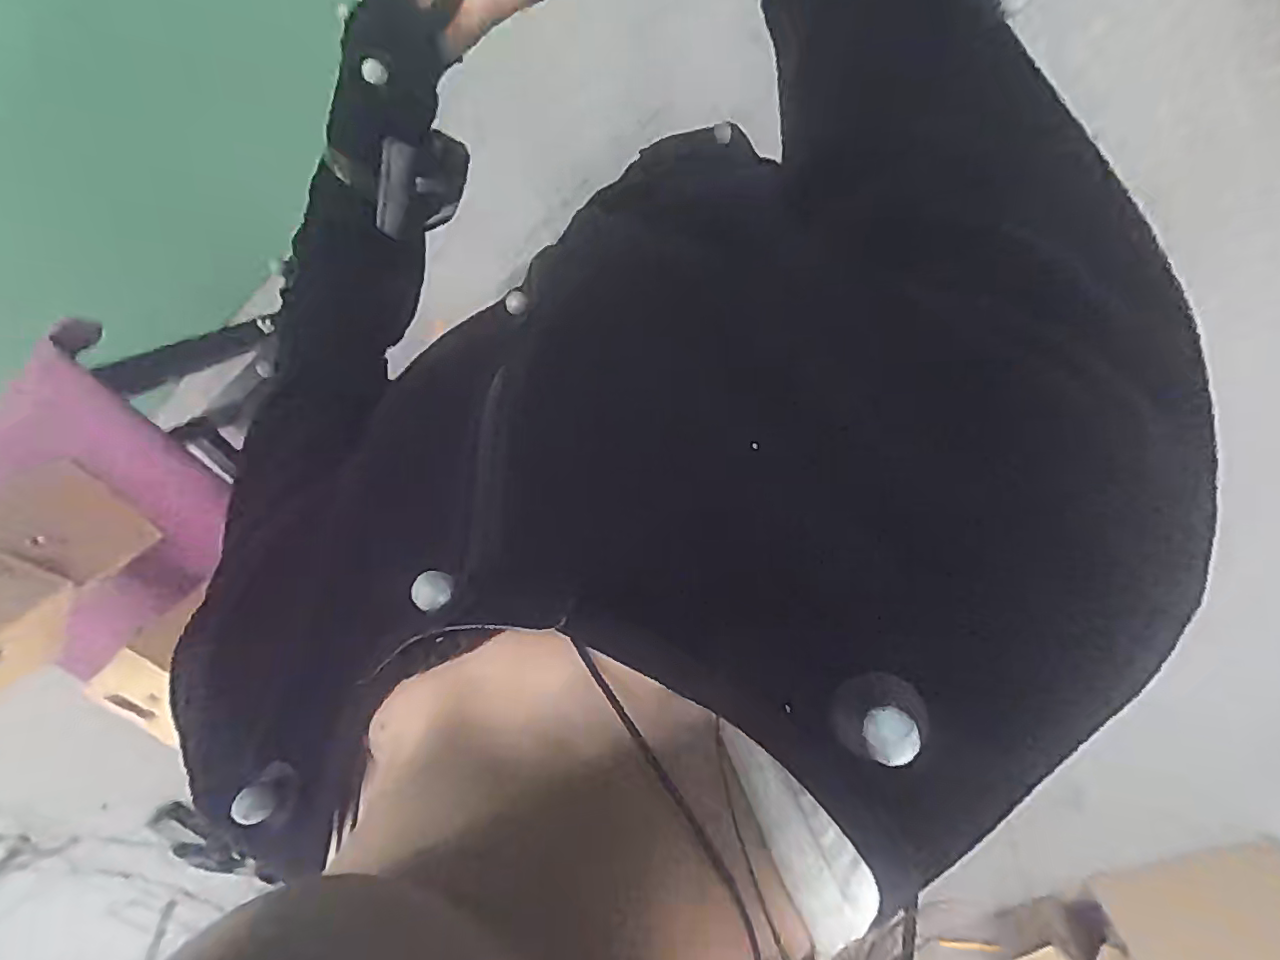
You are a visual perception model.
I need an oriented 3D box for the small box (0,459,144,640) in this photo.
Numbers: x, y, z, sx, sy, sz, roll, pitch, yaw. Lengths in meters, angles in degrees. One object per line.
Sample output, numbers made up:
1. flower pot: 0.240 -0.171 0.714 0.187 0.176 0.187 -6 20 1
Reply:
1. small box: -0.923 0.100 0.813 0.168 0.176 0.179 -30 113 19
